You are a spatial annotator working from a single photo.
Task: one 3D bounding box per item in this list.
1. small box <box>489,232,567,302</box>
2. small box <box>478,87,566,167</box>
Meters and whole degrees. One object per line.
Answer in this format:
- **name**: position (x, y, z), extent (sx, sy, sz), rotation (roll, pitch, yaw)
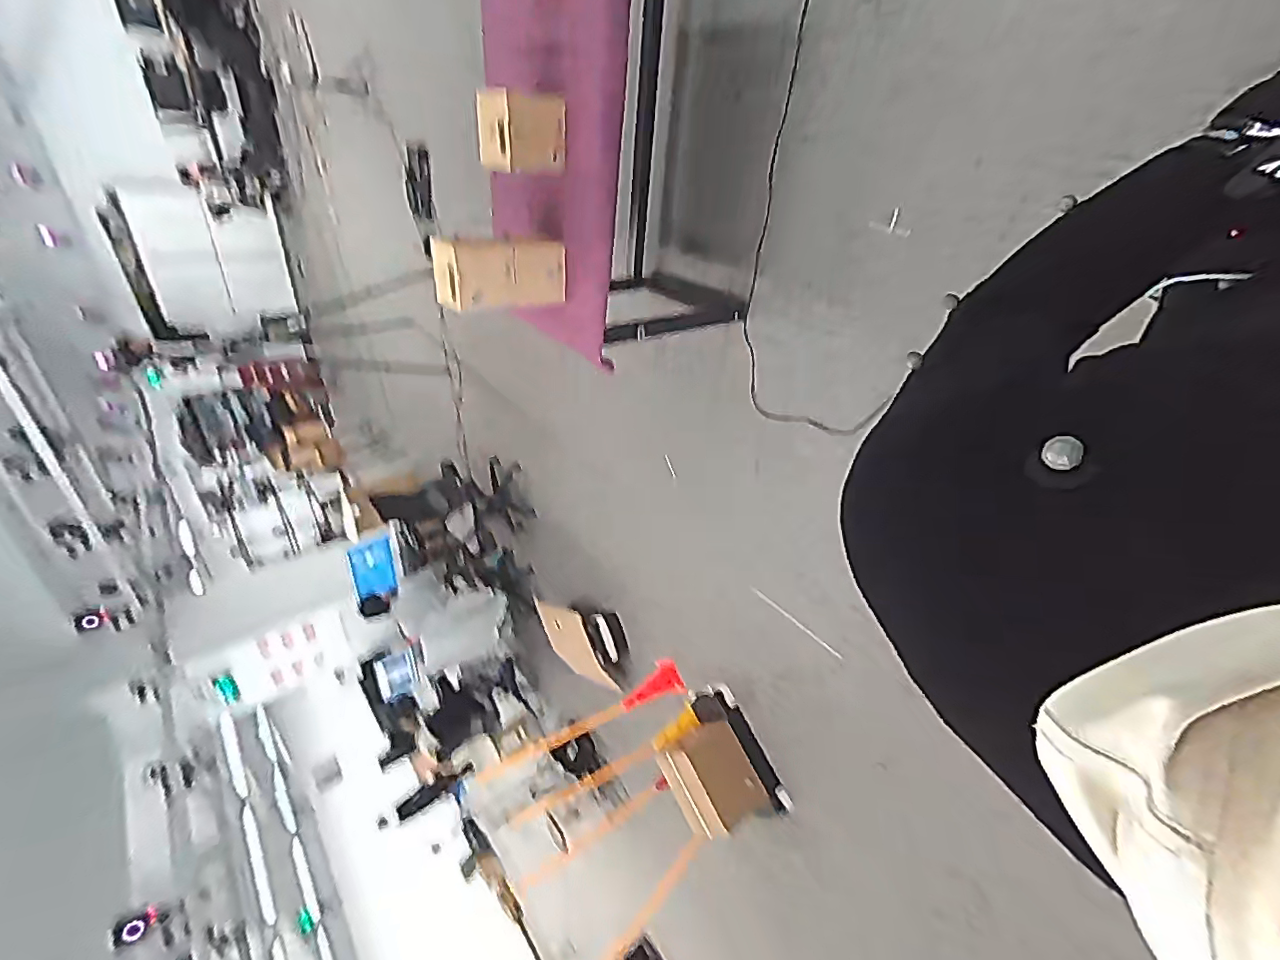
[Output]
- **small box**: position (-0.335, -0.641, 1.619), extent (0.179, 0.176, 0.168), rotation (35, 133, 39)
- **small box**: position (-0.307, -0.935, 1.437), extent (0.179, 0.176, 0.168), rotation (36, 133, 39)
